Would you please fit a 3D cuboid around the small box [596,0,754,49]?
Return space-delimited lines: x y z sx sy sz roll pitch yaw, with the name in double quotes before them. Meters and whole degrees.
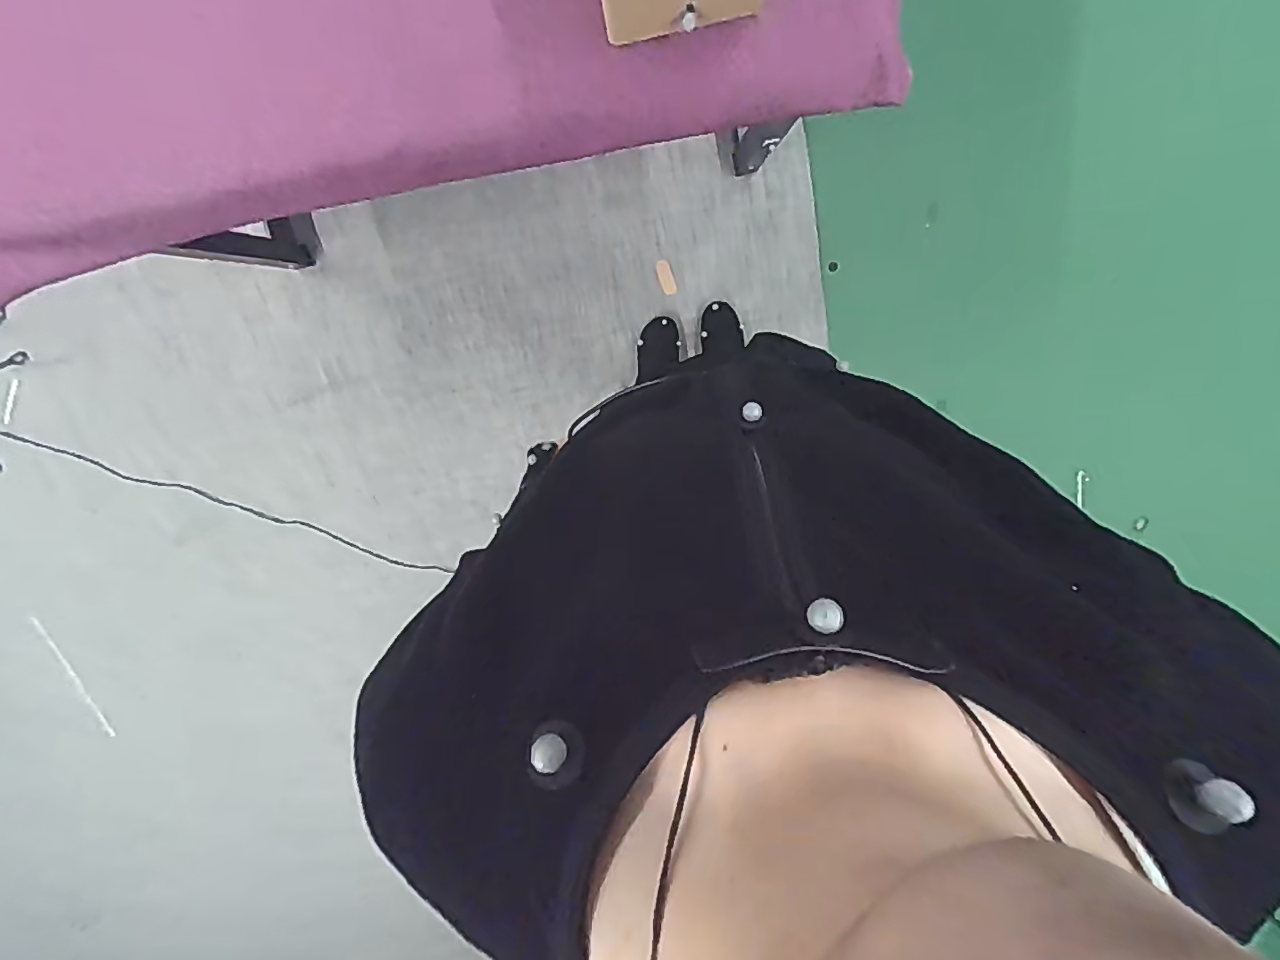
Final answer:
"small box" 0.031 -0.562 0.519 0.179 0.176 0.168 -10 103 4
